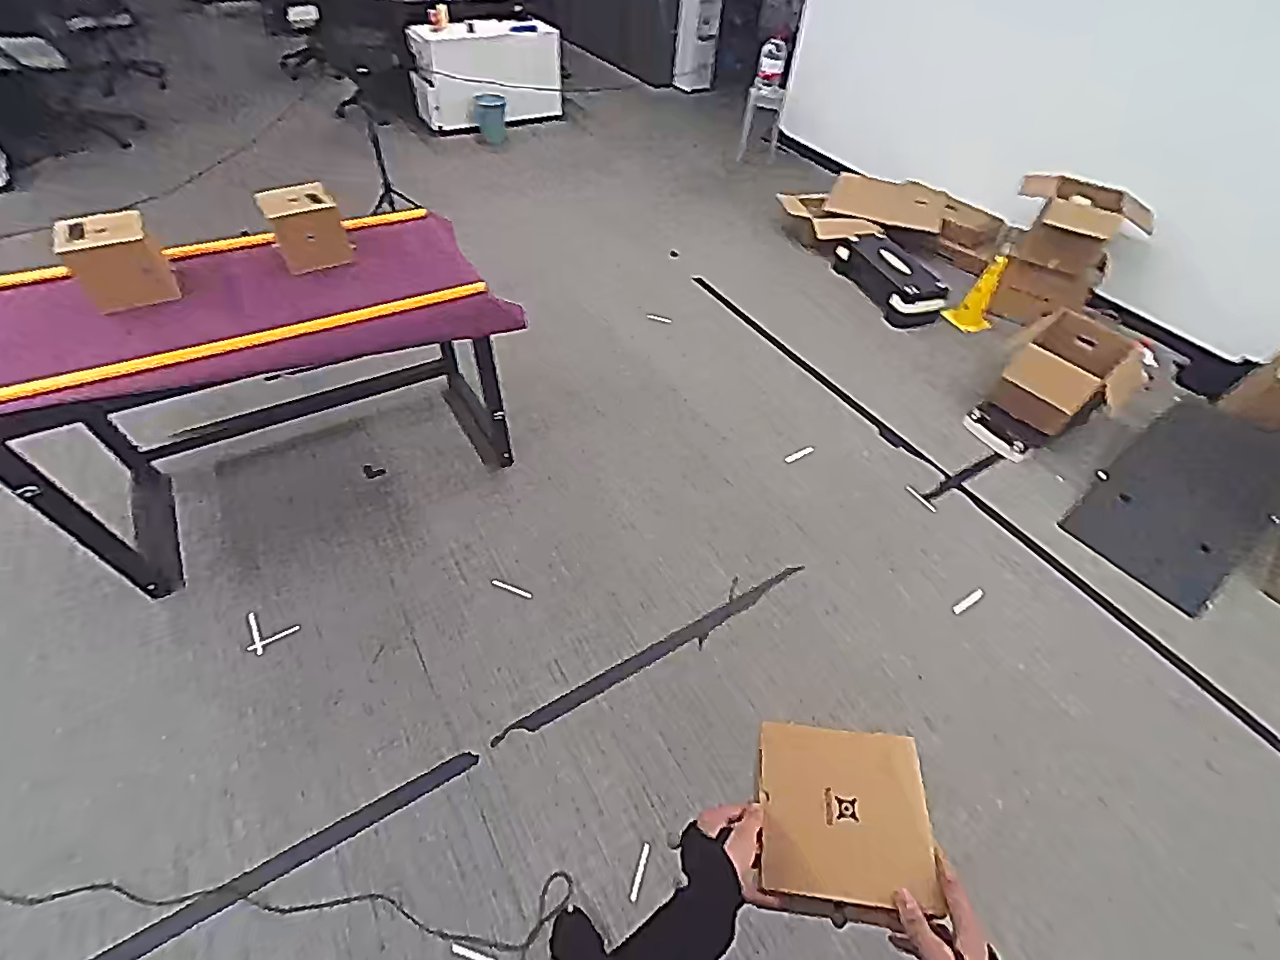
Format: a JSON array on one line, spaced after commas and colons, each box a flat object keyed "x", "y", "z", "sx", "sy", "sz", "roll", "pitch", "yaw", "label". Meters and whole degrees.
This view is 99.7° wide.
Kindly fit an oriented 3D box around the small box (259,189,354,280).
[{"x": -0.957, "y": -0.710, "z": 1.568, "sx": 0.179, "sy": 0.176, "sz": 0.168, "roll": -27, "pitch": 58, "yaw": -23, "label": "small box"}]
